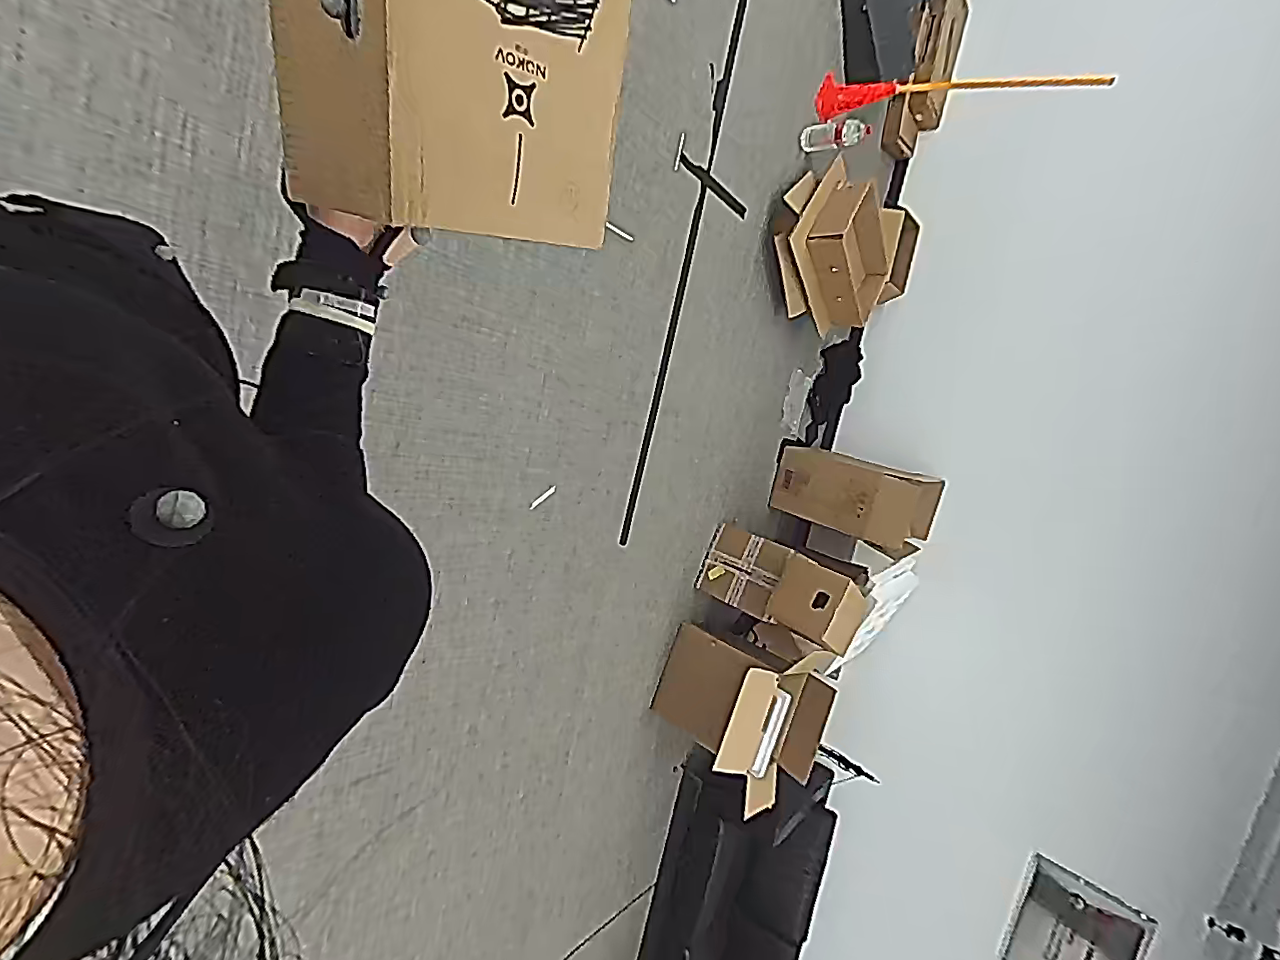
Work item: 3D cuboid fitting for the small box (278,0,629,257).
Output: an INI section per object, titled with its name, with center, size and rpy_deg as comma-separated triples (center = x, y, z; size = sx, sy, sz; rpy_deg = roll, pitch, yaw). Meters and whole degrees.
[small box]
center = -0.132, -0.269, 0.381
size = 0.168, 0.176, 0.179
rpy_deg = -17, 126, -46
